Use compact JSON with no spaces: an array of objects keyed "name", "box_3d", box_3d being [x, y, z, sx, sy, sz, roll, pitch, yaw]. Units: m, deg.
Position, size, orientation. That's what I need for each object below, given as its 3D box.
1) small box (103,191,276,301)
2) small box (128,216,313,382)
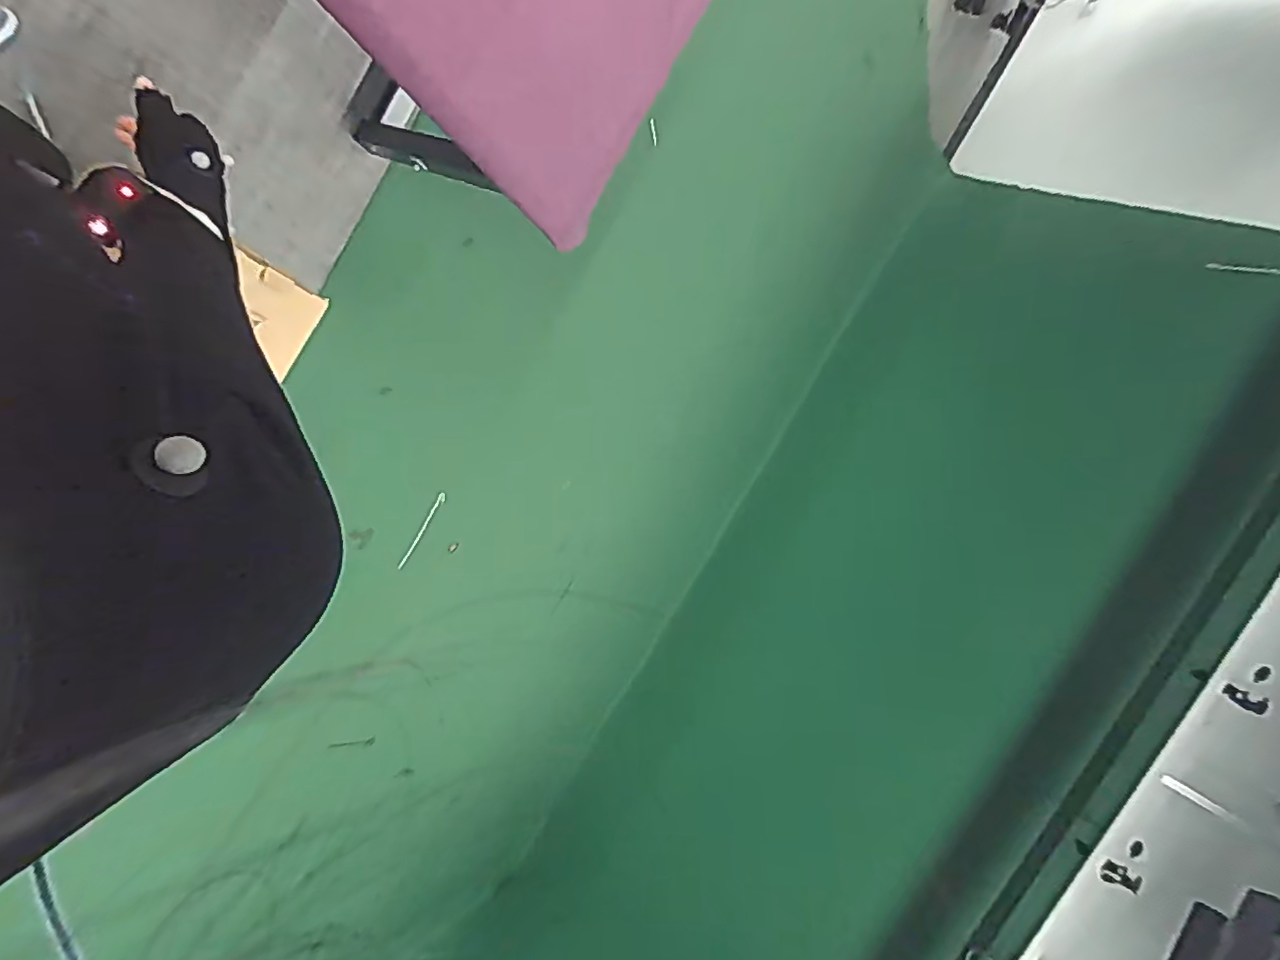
[{"name":"small box","box_3d":[-0.805,-0.376,0.964,0.179,0.176,0.168,-58,150,-1]},{"name":"small box","box_3d":[-0.689,-0.295,0.885,0.179,0.176,0.168,-59,150,-1]}]
